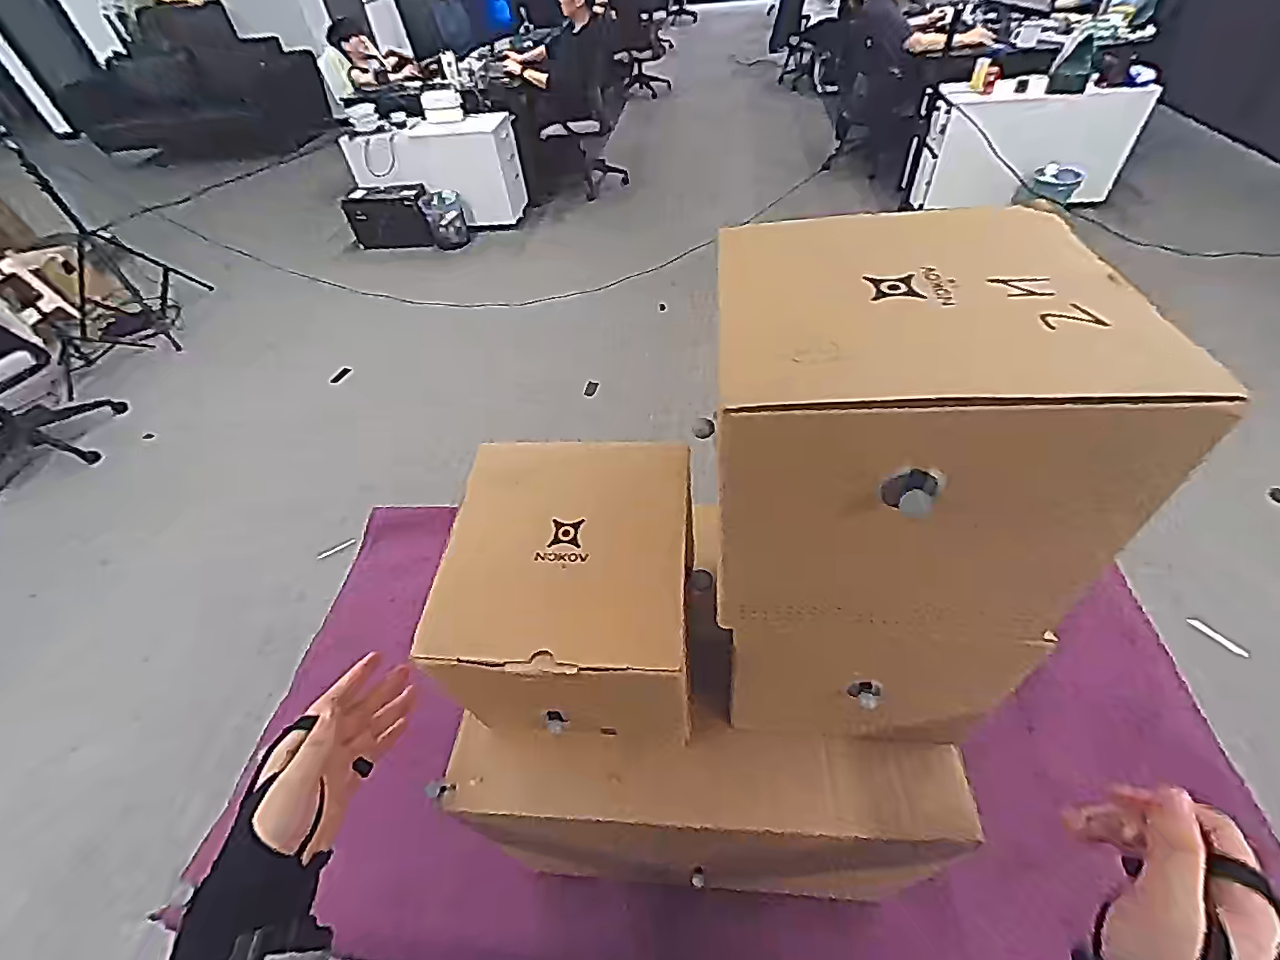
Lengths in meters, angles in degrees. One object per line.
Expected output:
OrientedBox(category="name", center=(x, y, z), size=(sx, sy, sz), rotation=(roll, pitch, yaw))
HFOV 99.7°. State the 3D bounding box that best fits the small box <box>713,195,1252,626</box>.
OrientedBox(category="small box", center=(0.131, -0.034, 0.298), size=(0.179, 0.176, 0.168), rotation=(0, 47, 8))
